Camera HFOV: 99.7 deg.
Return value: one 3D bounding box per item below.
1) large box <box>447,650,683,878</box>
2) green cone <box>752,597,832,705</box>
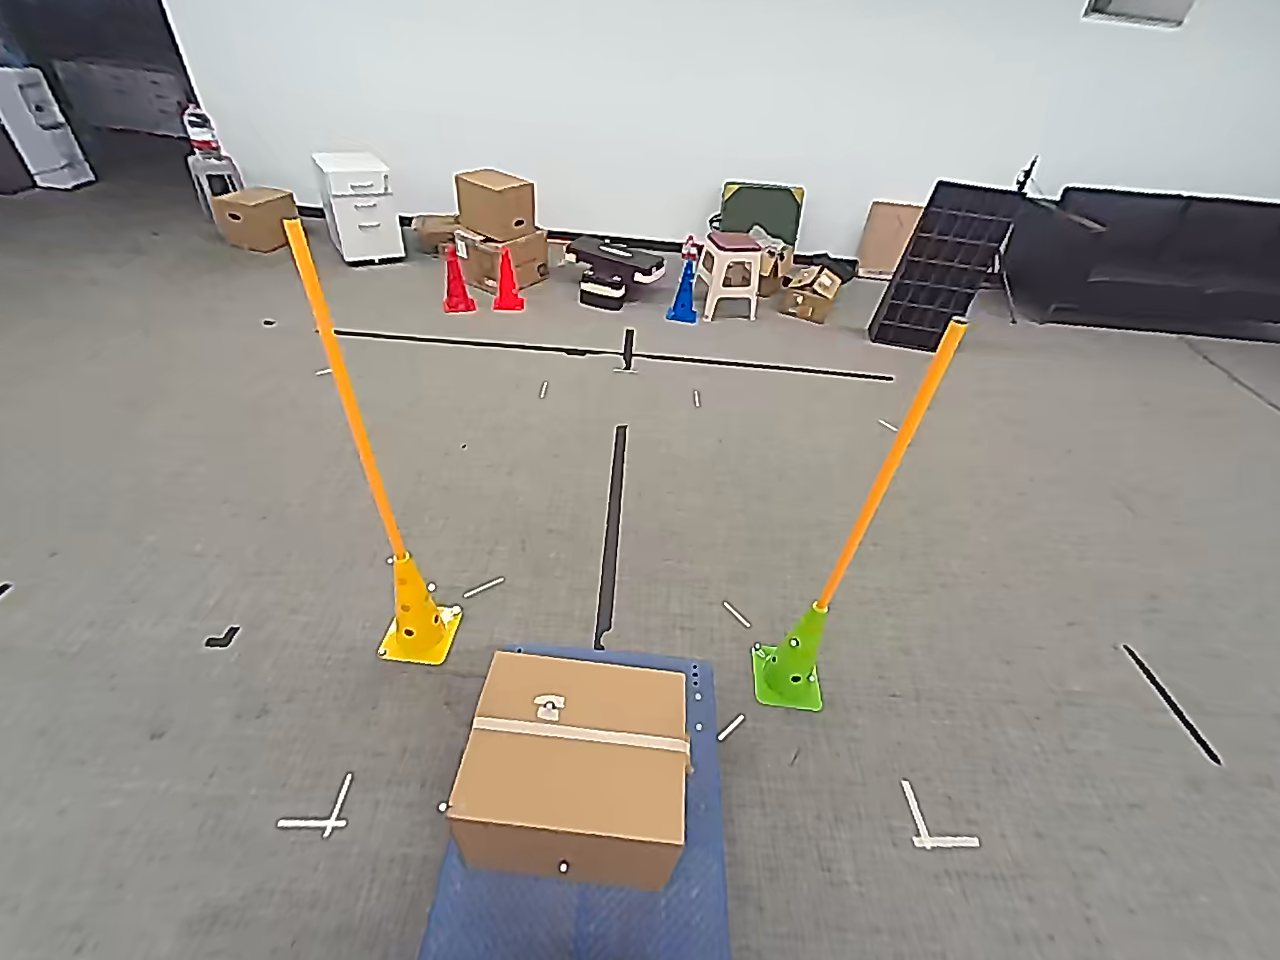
[{"bbox_3d":[-0.128,0.587,1.117,0.408,0.320,0.320,7,41,1],"label":"large box"},{"bbox_3d":[0.470,0.466,1.568,0.202,0.368,0.200,8,41,-1],"label":"green cone"}]
